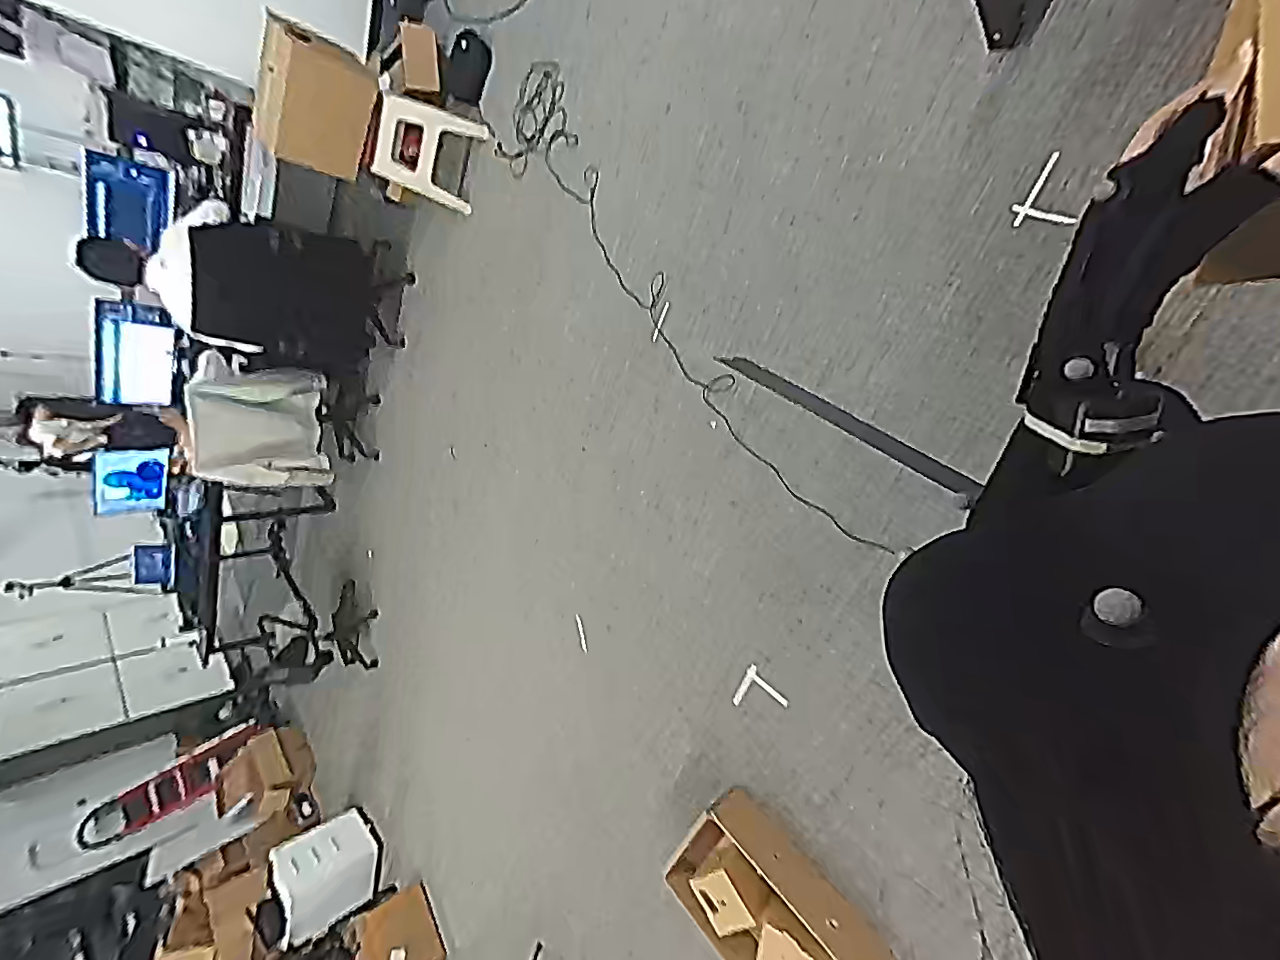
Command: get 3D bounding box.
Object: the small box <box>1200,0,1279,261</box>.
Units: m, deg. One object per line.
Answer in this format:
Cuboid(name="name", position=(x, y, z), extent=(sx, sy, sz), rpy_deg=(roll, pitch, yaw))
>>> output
Cuboid(name="small box", position=(0.458, -0.250, 0.301), extent=(0.179, 0.176, 0.168), rpy_deg=(4, 81, 38))
